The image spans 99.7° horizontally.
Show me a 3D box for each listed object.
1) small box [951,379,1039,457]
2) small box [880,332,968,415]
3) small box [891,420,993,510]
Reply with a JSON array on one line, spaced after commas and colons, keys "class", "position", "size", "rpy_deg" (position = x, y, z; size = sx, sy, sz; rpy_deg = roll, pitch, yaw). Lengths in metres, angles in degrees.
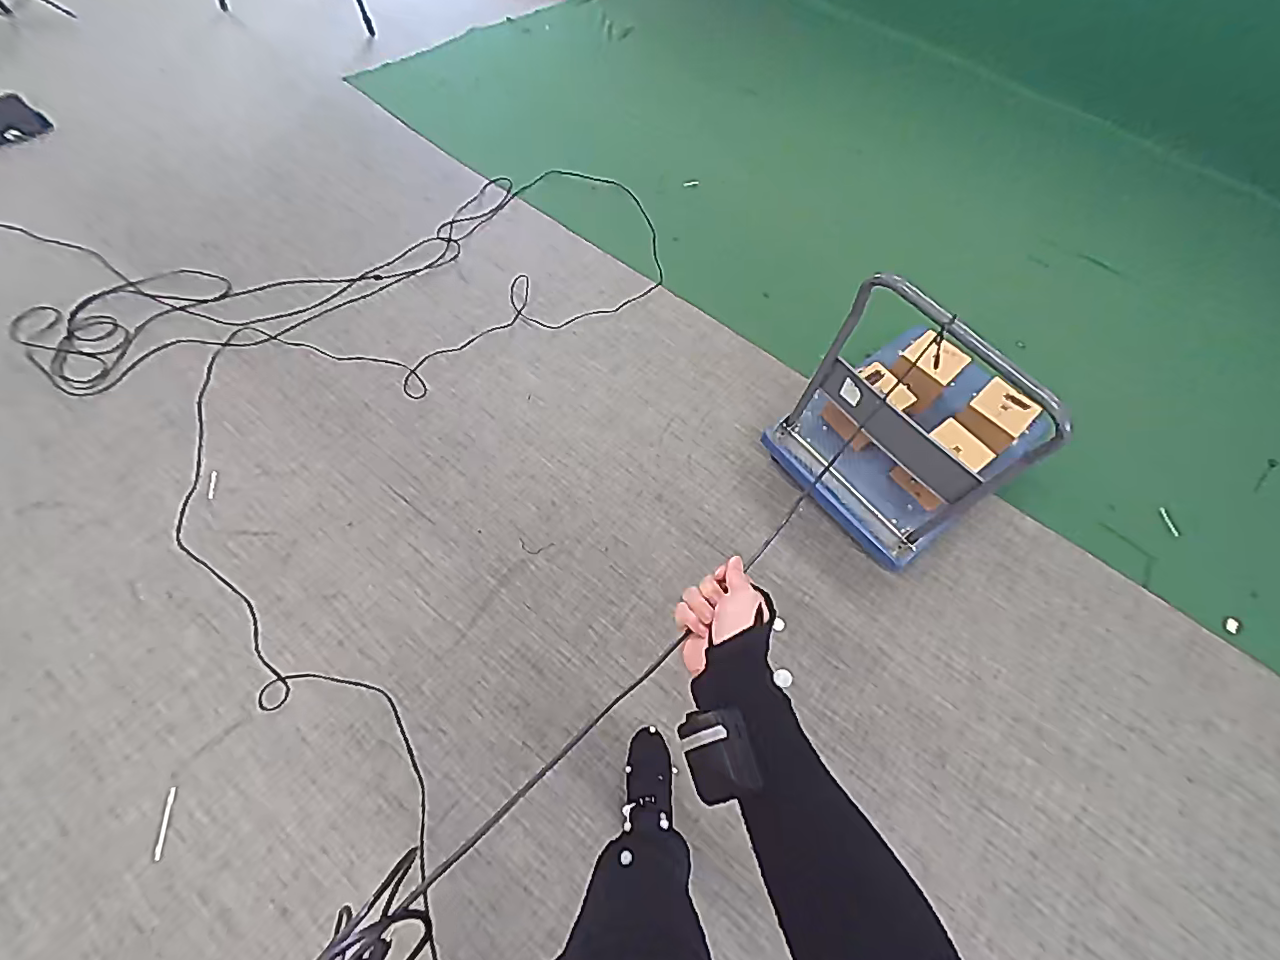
[{"class": "small box", "position": [1.104, -0.181, 1.720], "size": [0.179, 0.176, 0.168], "rpy_deg": [-37, 70, -23]}, {"class": "small box", "position": [0.933, -0.349, 1.797], "size": [0.179, 0.176, 0.168], "rpy_deg": [-37, 71, -23]}, {"class": "small box", "position": [0.894, -0.042, 1.620], "size": [0.179, 0.176, 0.168], "rpy_deg": [-33, 69, -21]}]
